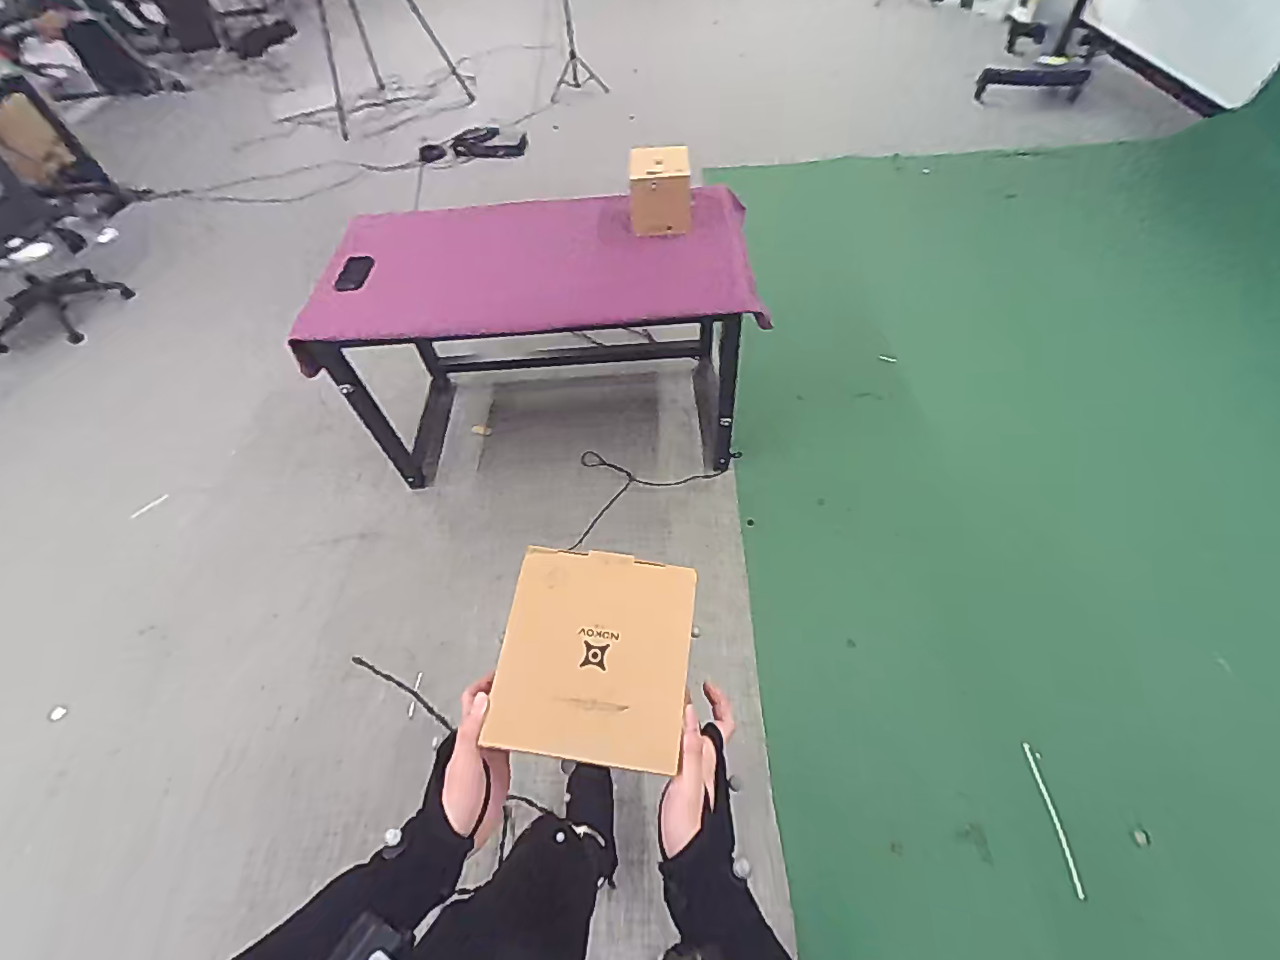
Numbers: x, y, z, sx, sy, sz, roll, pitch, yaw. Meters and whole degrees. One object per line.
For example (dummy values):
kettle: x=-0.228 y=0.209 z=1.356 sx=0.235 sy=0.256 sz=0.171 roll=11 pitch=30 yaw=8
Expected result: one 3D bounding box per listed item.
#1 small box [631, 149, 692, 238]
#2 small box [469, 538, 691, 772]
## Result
small box: x=0.064 y=-0.824 z=1.557 sx=0.168 sy=0.176 sz=0.179 roll=-3 pitch=53 yaw=5
small box: x=-0.047 y=0.177 z=0.539 sx=0.168 sy=0.176 sz=0.179 roll=8 pitch=65 yaw=4
